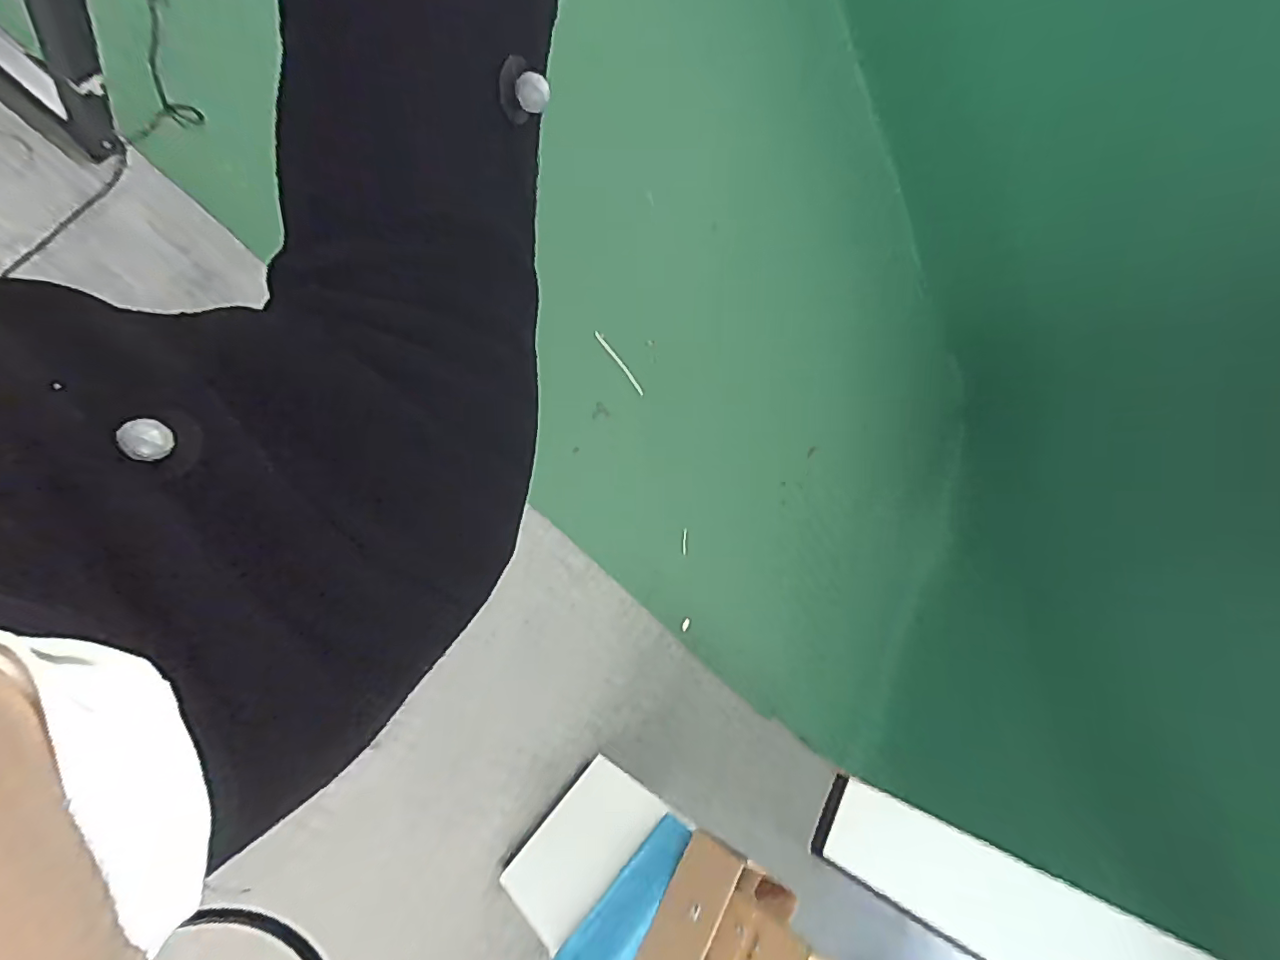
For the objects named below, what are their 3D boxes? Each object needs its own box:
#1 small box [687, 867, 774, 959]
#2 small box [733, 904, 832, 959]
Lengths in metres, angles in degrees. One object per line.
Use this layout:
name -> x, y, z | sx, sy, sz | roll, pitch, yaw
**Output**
small box -> 0.270, 1.269, 1.569 | 0.179, 0.176, 0.168 | 50, 63, -34
small box -> 0.380, 1.288, 1.450 | 0.179, 0.176, 0.168 | 50, 64, -33
